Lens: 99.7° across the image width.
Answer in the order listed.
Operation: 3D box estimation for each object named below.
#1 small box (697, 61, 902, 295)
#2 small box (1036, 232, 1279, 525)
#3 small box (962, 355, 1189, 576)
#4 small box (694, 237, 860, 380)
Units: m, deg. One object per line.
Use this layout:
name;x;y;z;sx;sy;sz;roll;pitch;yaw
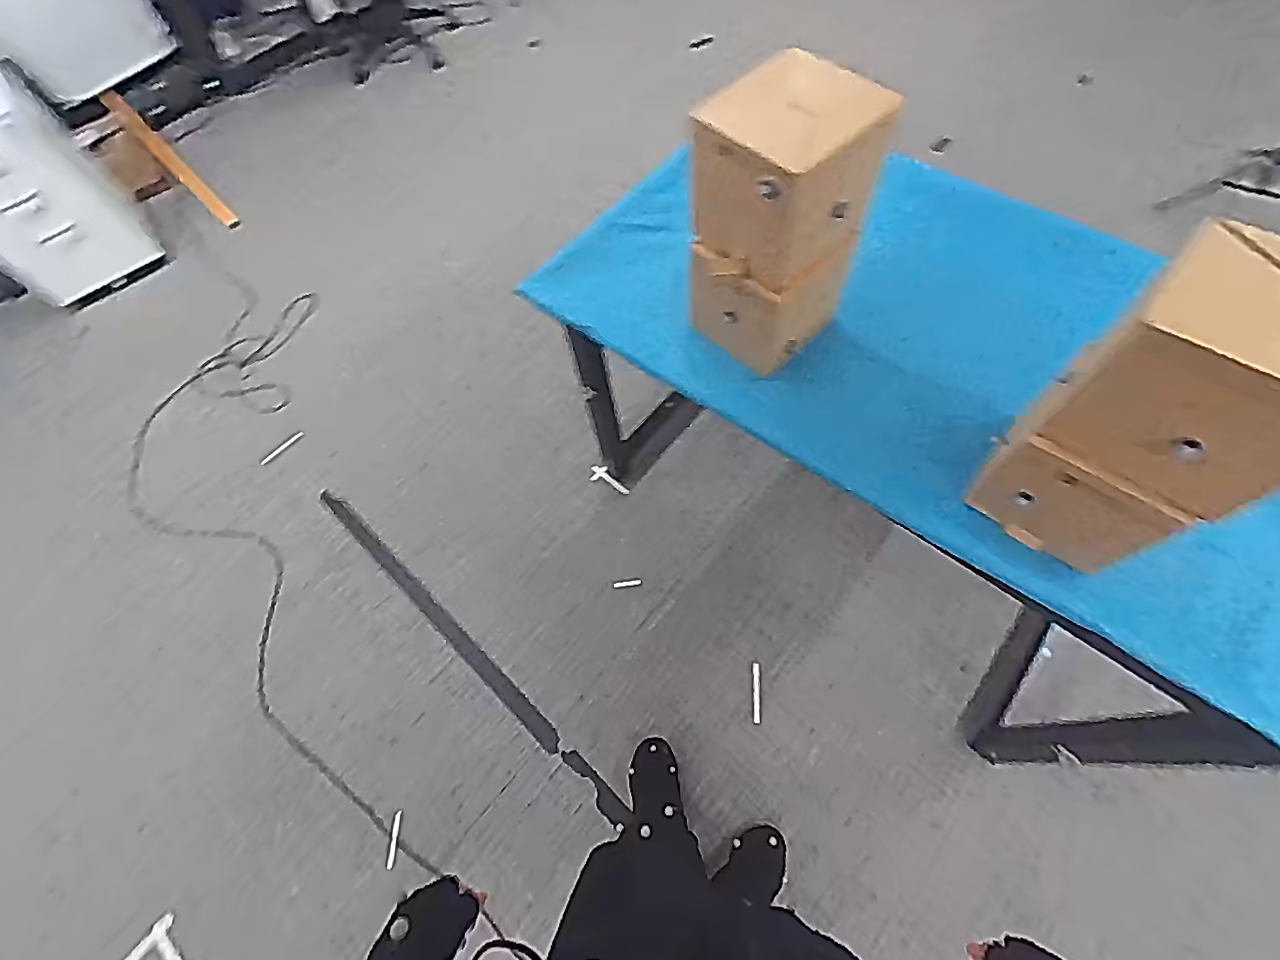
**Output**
small box;0.188;-0.379;0.681;0.179;0.176;0.168;-39;67;-12
small box;0.538;-0.095;0.511;0.179;0.176;0.168;37;70;23
small box;0.542;-0.020;0.656;0.168;0.176;0.179;36;71;20
small box;0.198;-0.295;0.822;0.179;0.176;0.168;-42;68;-15
